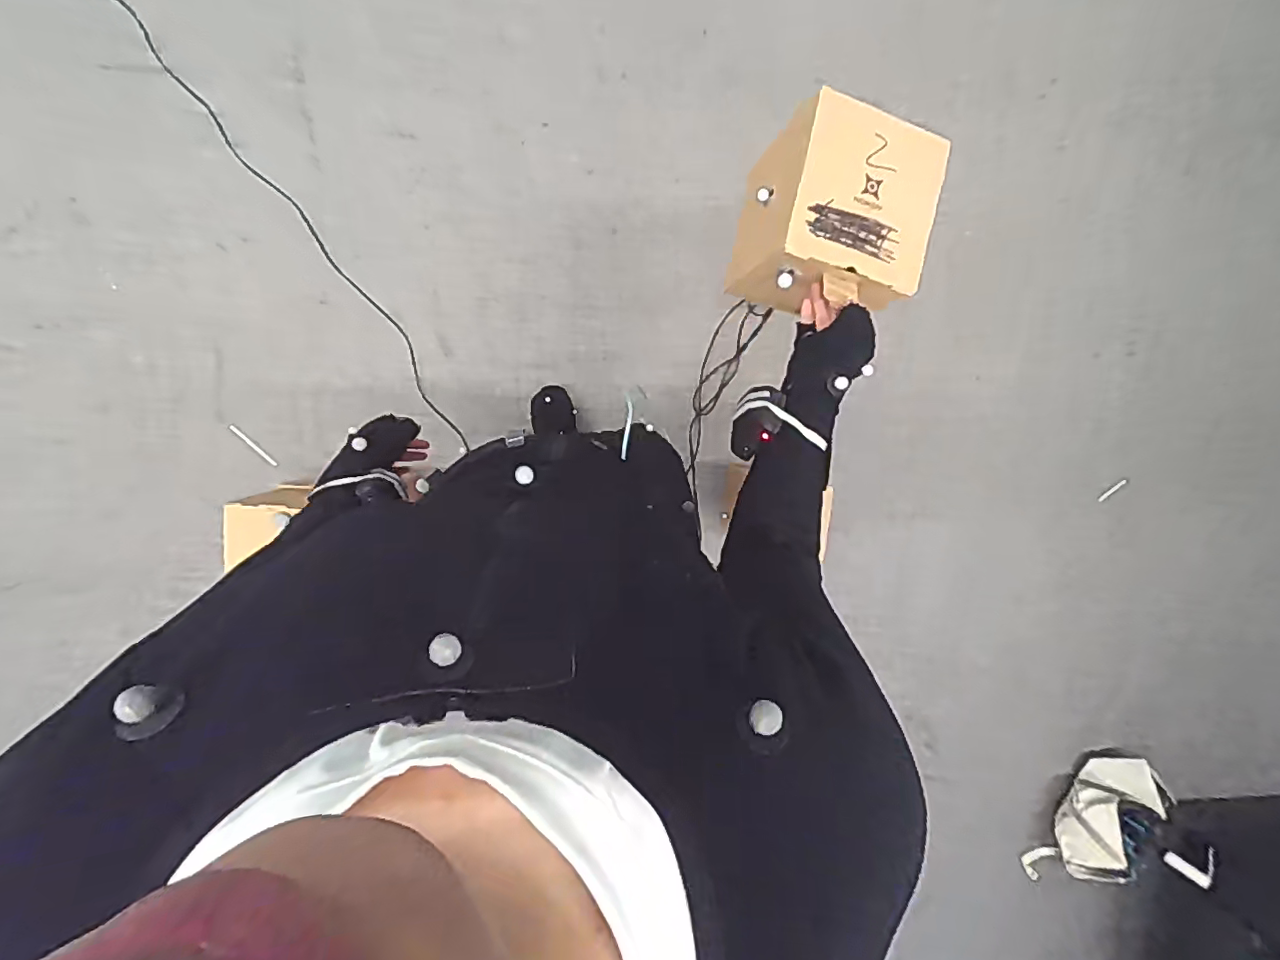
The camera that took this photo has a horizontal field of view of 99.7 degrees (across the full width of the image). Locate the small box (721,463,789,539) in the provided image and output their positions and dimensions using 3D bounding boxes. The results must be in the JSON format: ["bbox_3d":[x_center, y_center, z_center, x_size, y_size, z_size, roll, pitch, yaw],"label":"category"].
[{"bbox_3d":[0.320,0.060,1.425,0.168,0.176,0.179,7,97,-6],"label":"small box"}]

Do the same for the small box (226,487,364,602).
[{"bbox_3d":[-0.646,0.116,1.031,0.168,0.176,0.179,4,97,-5],"label":"small box"}]

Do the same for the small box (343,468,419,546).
[{"bbox_3d":[-0.664,0.062,1.353,0.179,0.176,0.168,3,98,-5],"label":"small box"}]

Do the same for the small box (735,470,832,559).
[{"bbox_3d":[0.331,0.075,1.279,0.168,0.176,0.179,5,98,-6],"label":"small box"}]

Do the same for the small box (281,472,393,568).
[{"bbox_3d":[-0.658,0.084,1.191,0.168,0.176,0.179,4,97,-5],"label":"small box"}]
